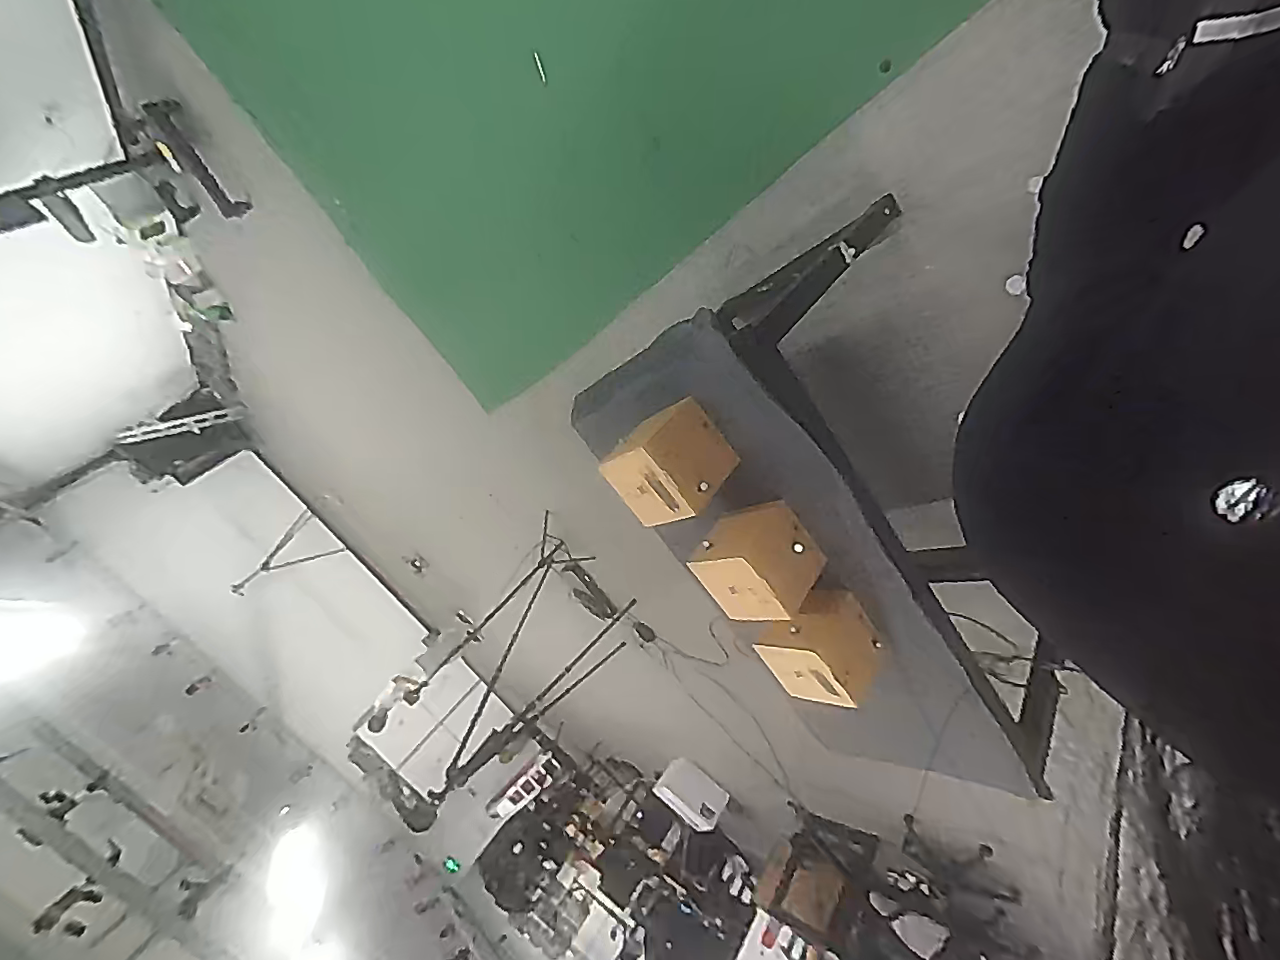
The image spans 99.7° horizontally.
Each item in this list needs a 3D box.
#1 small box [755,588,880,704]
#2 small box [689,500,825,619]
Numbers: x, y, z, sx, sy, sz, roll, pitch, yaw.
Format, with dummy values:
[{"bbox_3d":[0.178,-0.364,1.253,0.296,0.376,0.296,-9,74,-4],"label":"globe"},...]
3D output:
[{"bbox_3d":[0.388,0.347,1.160,0.168,0.176,0.179,53,147,-13],"label":"small box"},{"bbox_3d":[0.240,0.162,1.105,0.168,0.176,0.179,51,147,-13],"label":"small box"}]
